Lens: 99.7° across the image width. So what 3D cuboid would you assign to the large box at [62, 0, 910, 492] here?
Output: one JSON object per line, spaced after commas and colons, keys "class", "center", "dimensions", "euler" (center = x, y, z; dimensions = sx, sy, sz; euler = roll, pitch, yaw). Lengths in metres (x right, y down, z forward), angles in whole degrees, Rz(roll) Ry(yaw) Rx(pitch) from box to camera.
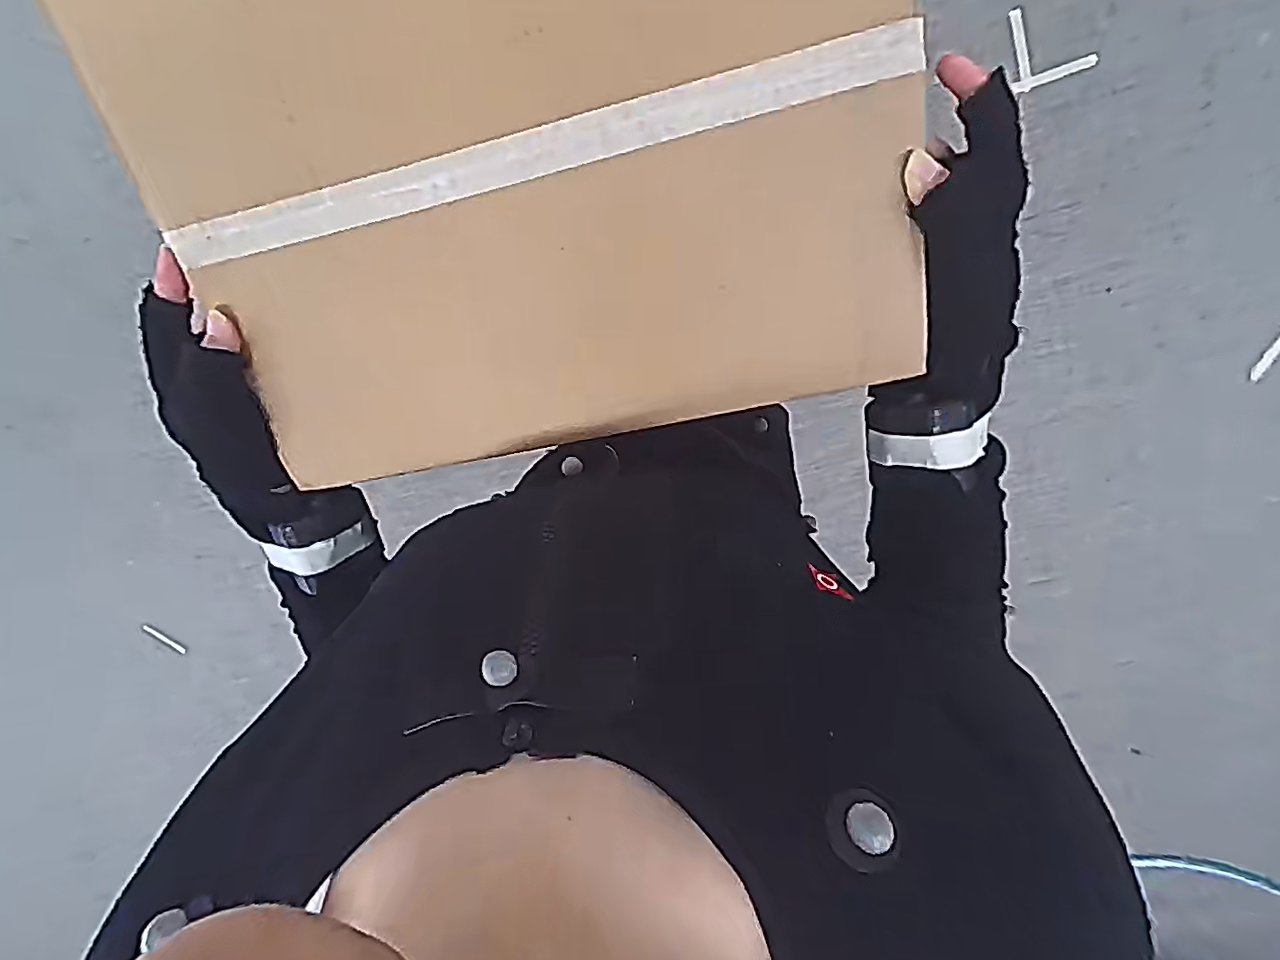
{"class": "large box", "center": [-0.057, -0.226, 0.425], "dimensions": [0.408, 0.320, 0.320], "euler": [-11, 113, 9]}
